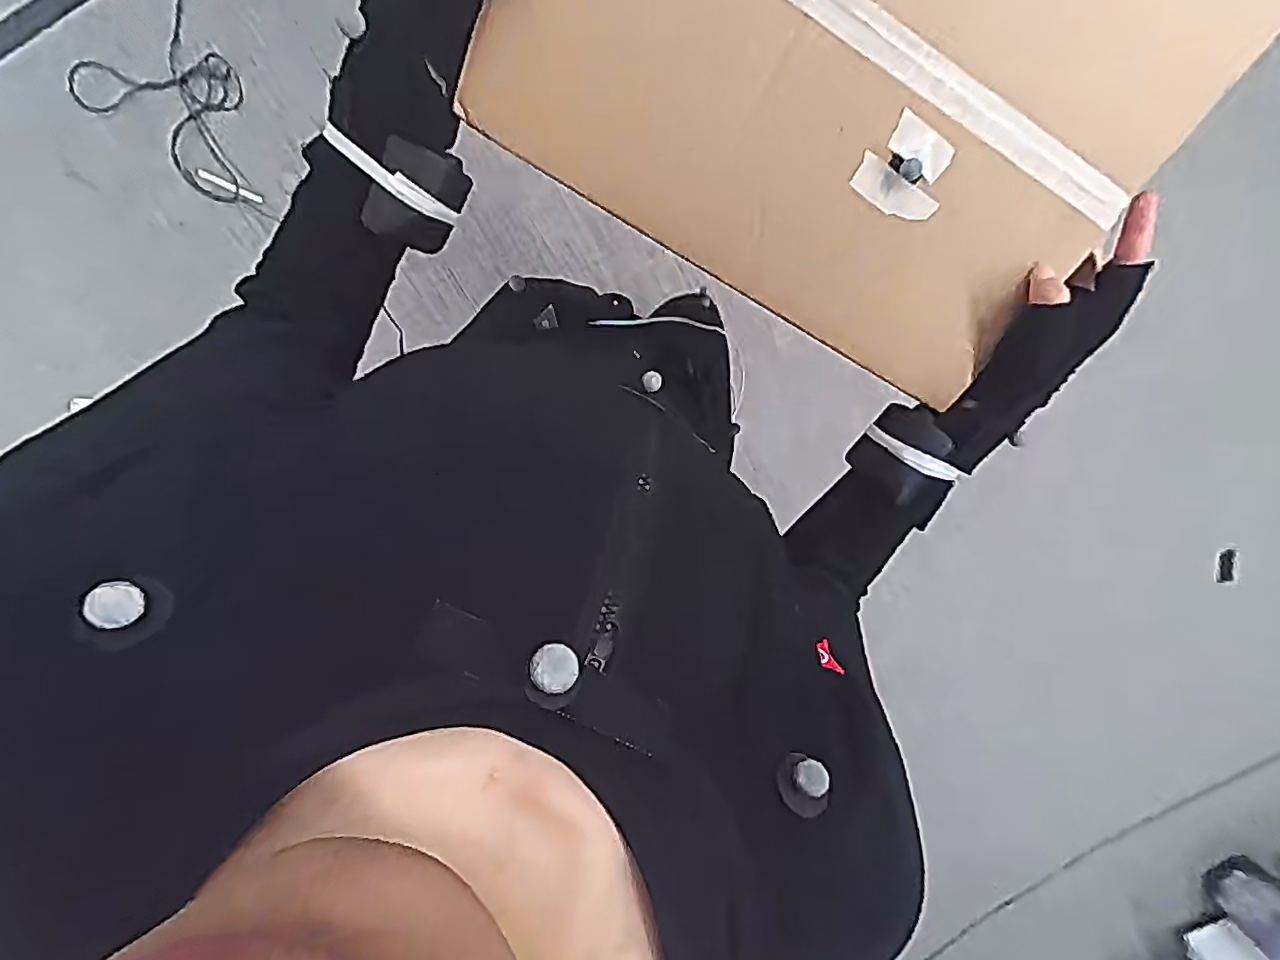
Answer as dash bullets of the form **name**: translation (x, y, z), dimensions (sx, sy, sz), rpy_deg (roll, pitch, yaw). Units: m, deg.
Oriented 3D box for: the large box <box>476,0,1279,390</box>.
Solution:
- **large box**: translation (0.140, -0.341, 0.455), dimensions (0.408, 0.320, 0.320), rpy_deg (27, 117, -12)
